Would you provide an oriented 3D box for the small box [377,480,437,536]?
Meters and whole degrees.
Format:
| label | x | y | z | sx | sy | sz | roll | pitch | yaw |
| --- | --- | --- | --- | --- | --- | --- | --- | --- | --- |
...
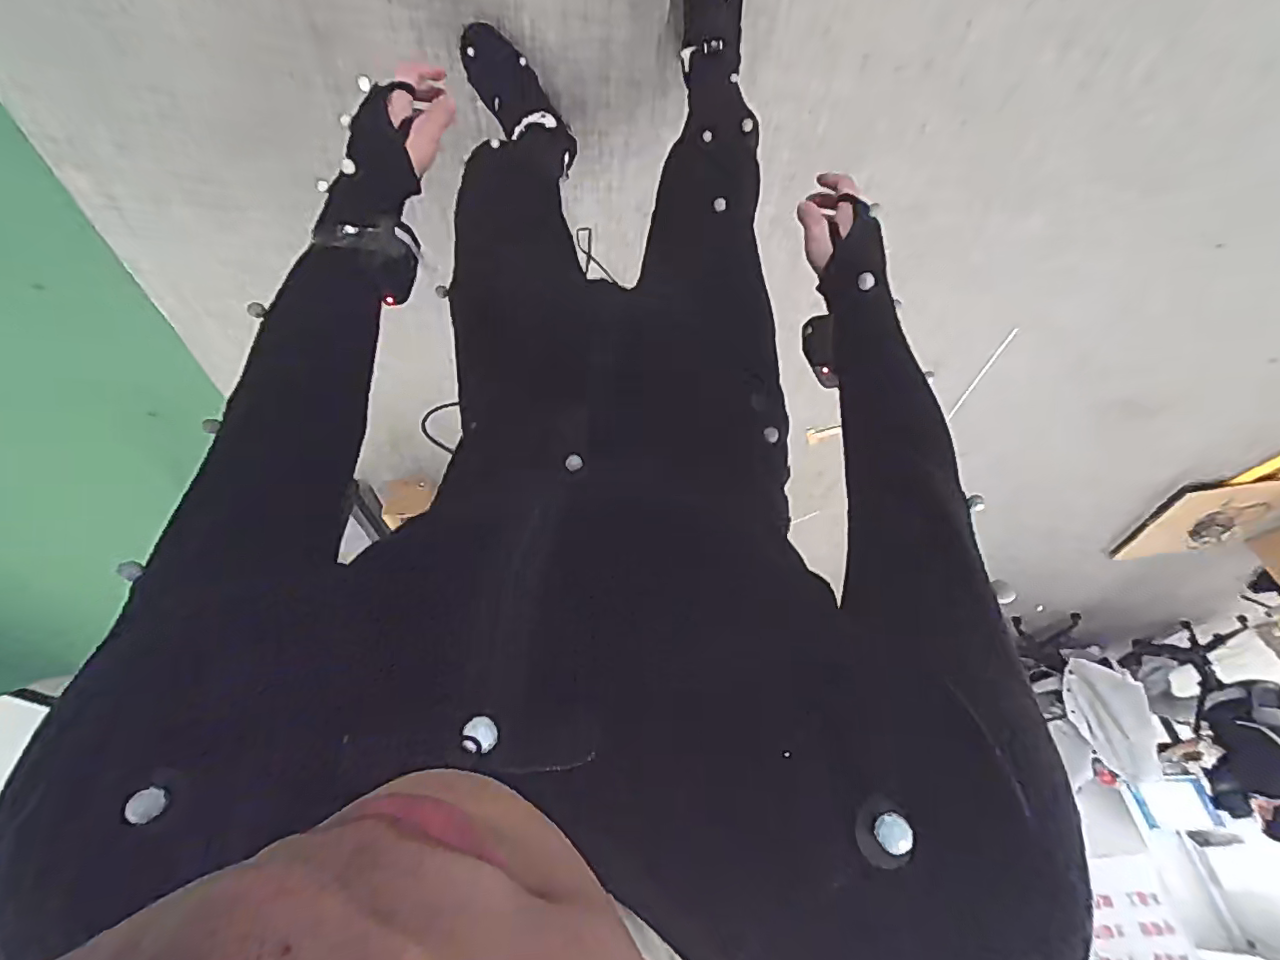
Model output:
| label | x | y | z | sx | sy | sz | roll | pitch | yaw |
| --- | --- | --- | --- | --- | --- | --- | --- | --- | --- |
| small box | -0.933 | 0.111 | 2.178 | 0.168 | 0.176 | 0.179 | -1 | 145 | -2 |
